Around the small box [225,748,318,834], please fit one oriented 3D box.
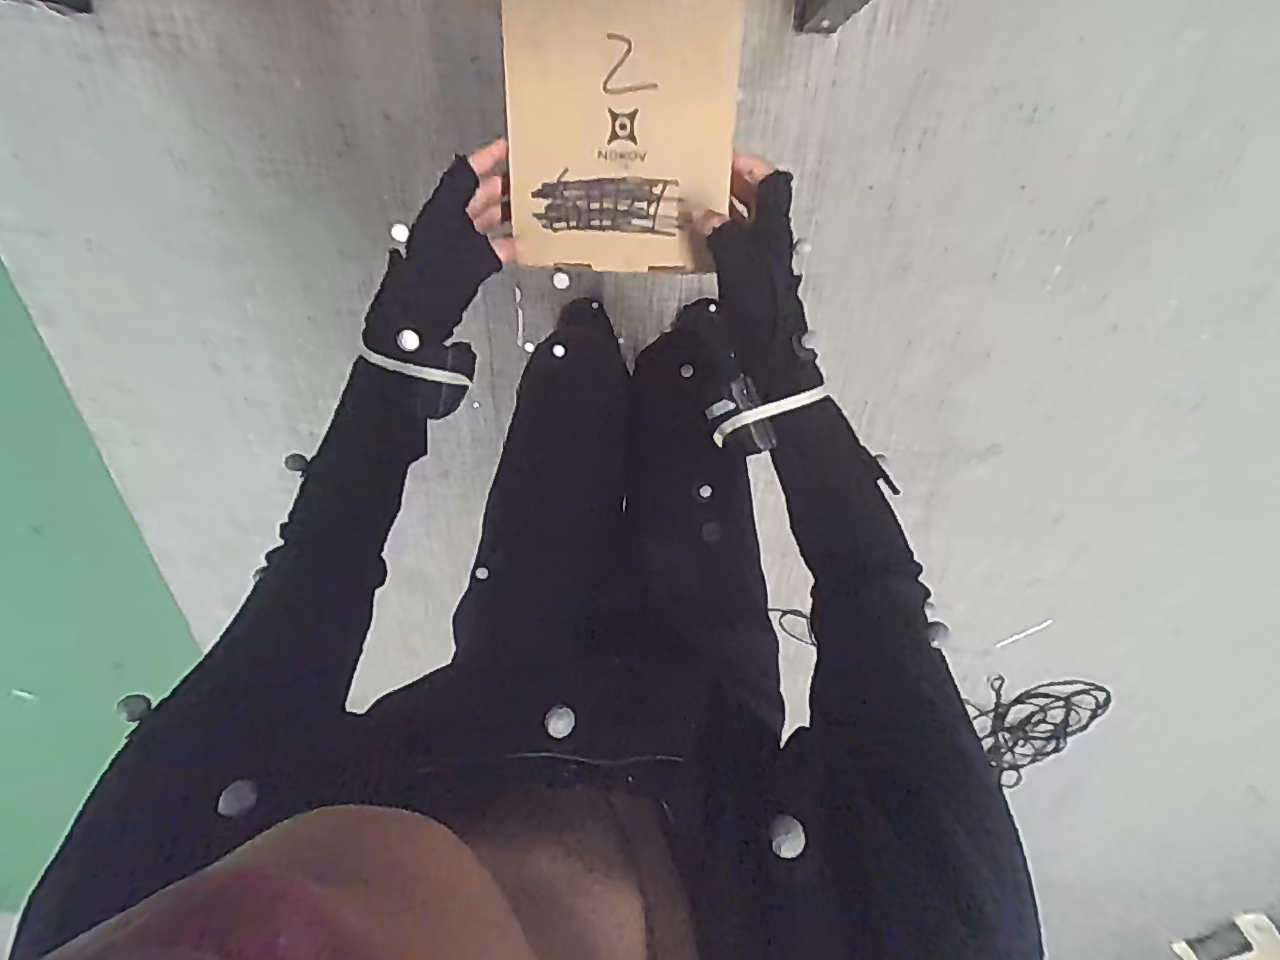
[{"bbox_3d":[-1.180,1.004,1.749,0.168,0.176,0.179,5,119,1],"label":"small box"}]
